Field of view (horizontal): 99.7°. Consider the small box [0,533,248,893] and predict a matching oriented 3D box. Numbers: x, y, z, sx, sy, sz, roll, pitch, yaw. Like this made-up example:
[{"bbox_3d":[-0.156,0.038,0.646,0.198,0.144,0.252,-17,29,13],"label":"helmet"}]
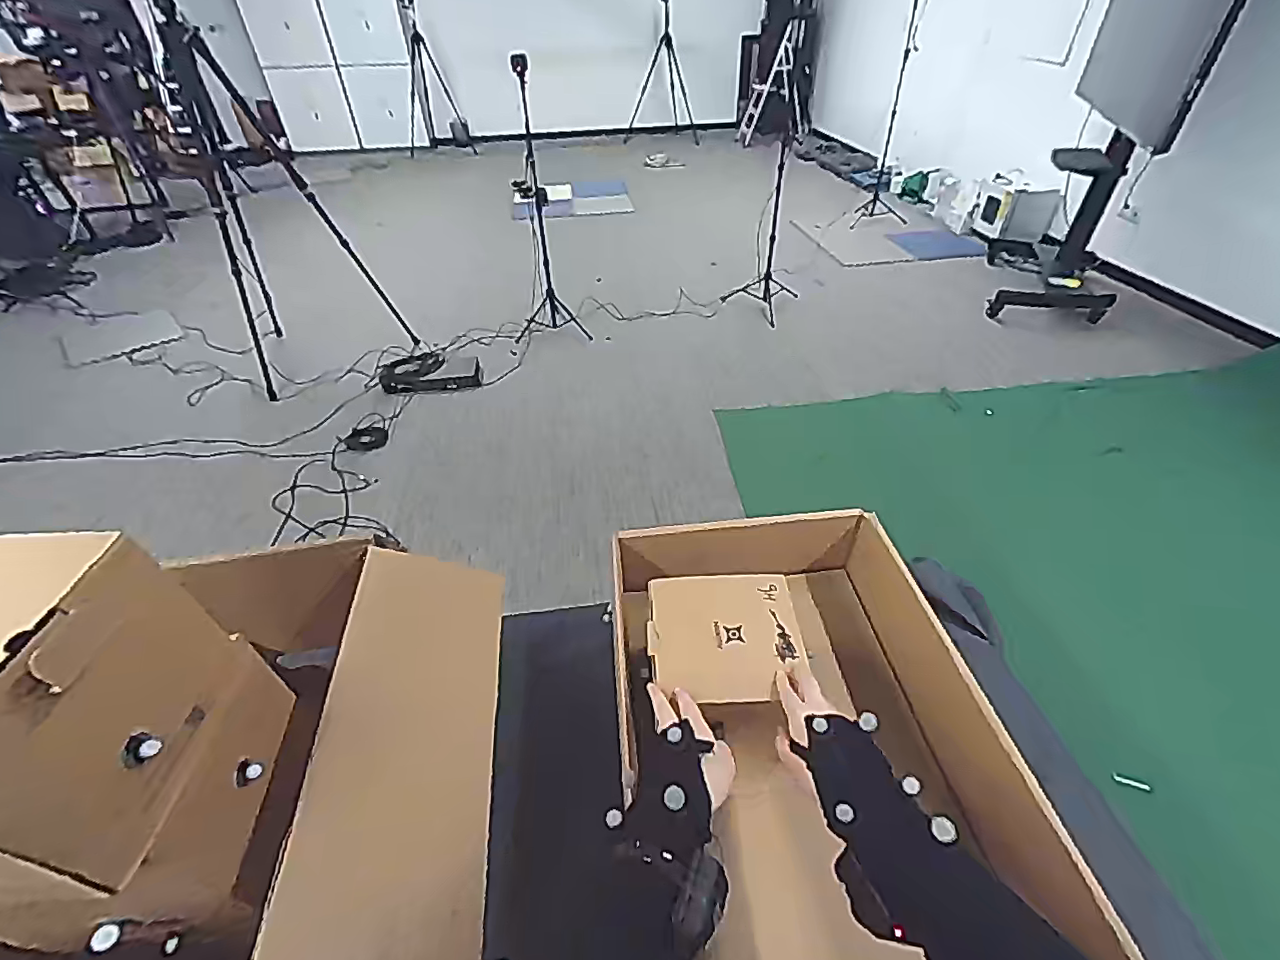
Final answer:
[{"bbox_3d":[-0.417,0.153,0.353,0.179,0.176,0.168,-2,42,-1],"label":"small box"}]
